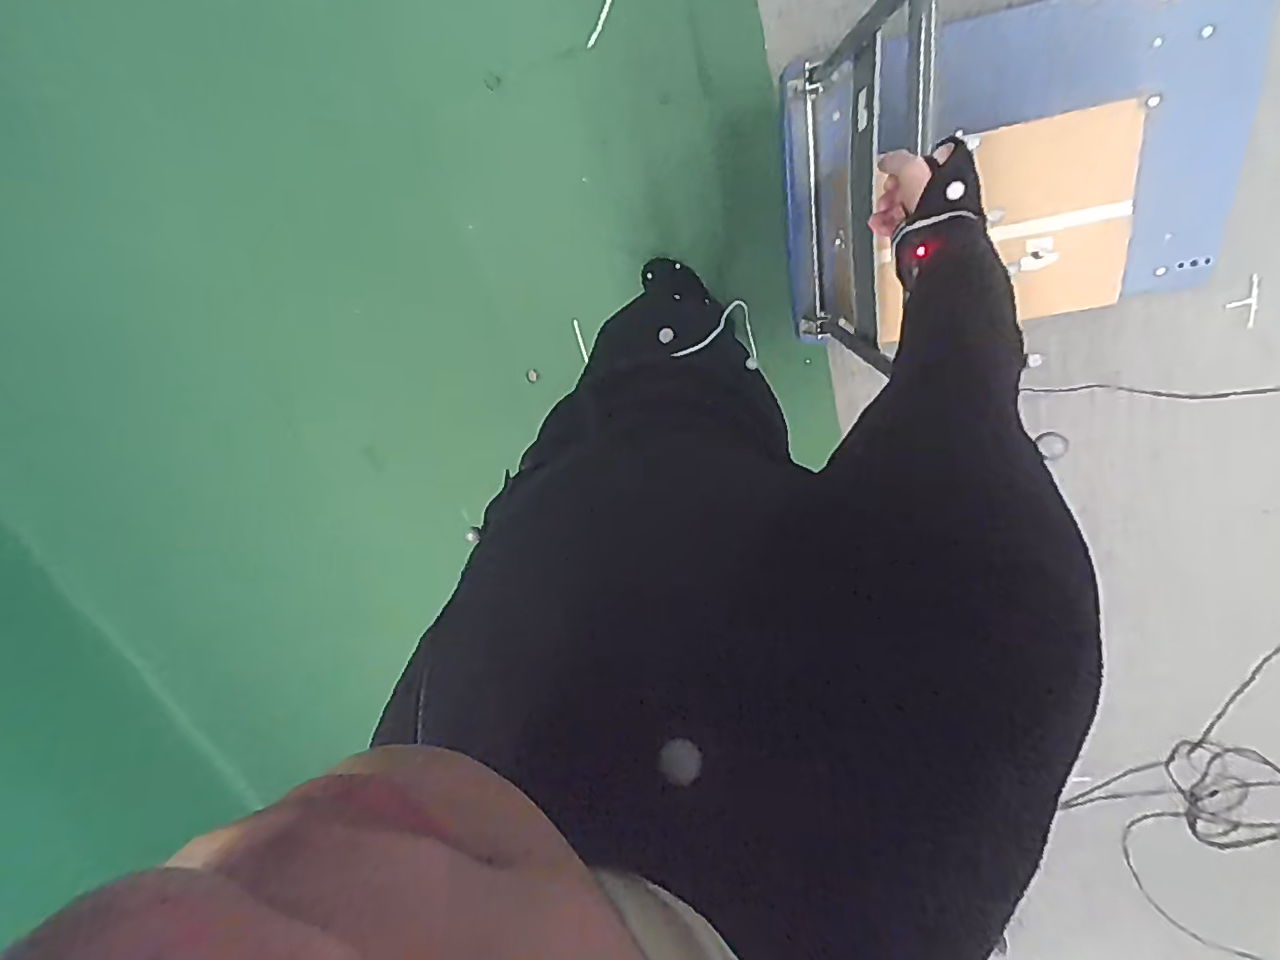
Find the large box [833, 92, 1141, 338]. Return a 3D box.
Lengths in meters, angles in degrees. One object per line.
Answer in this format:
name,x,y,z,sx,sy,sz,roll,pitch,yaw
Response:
large box,0.624,-0.494,1.059,0.408,0.320,0.320,-8,115,10
